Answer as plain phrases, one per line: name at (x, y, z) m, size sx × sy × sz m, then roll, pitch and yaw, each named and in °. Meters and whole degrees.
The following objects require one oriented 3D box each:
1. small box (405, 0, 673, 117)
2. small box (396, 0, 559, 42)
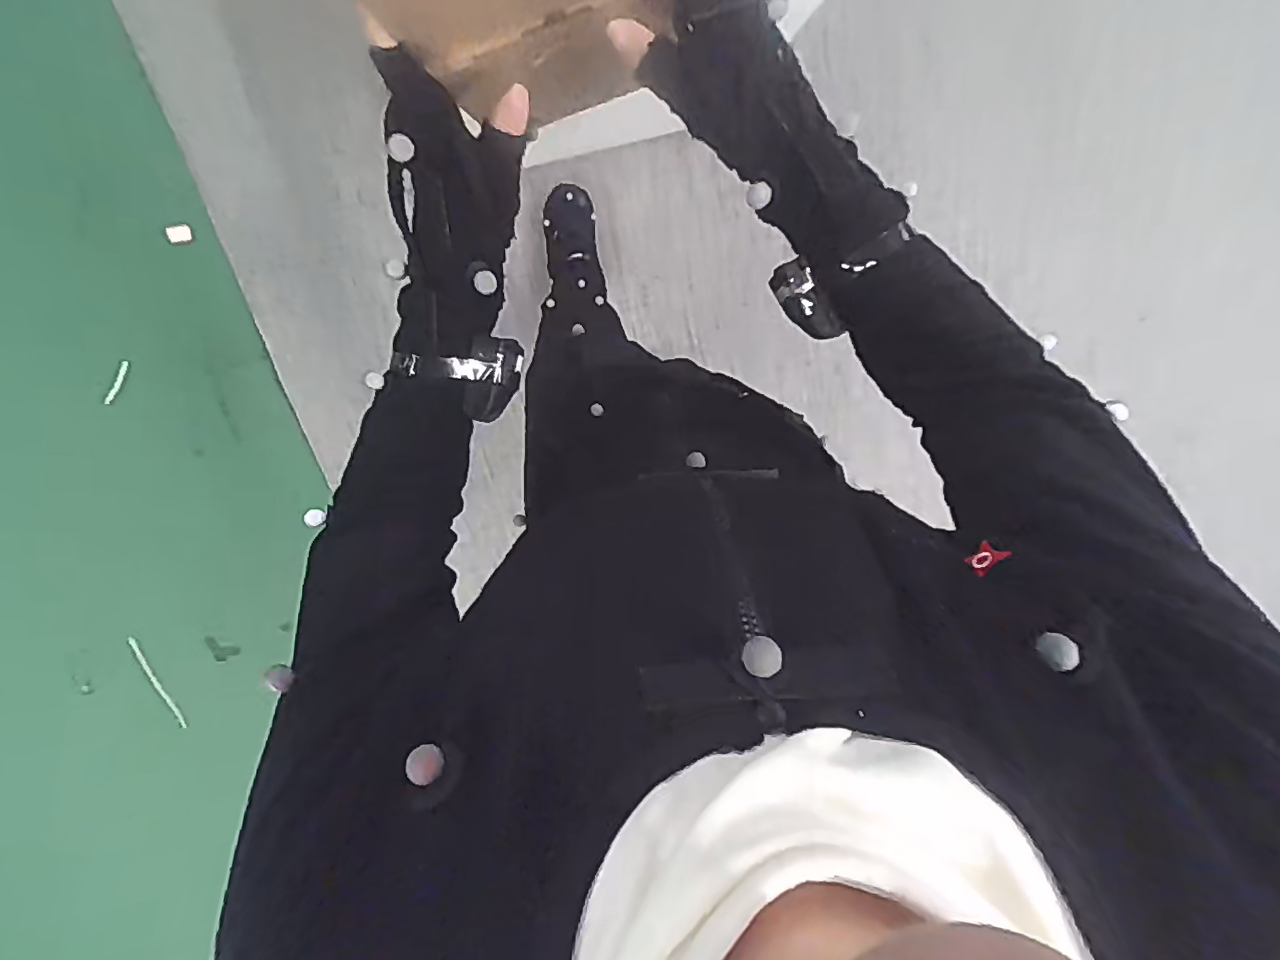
small box at (-0.075, -0.378, 0.367) m, size 0.168 × 0.176 × 0.179 m, roll -16°, pitch 108°, yaw 8°
small box at (-0.080, -0.329, 0.212) m, size 0.168 × 0.176 × 0.179 m, roll -15°, pitch 108°, yaw 7°
